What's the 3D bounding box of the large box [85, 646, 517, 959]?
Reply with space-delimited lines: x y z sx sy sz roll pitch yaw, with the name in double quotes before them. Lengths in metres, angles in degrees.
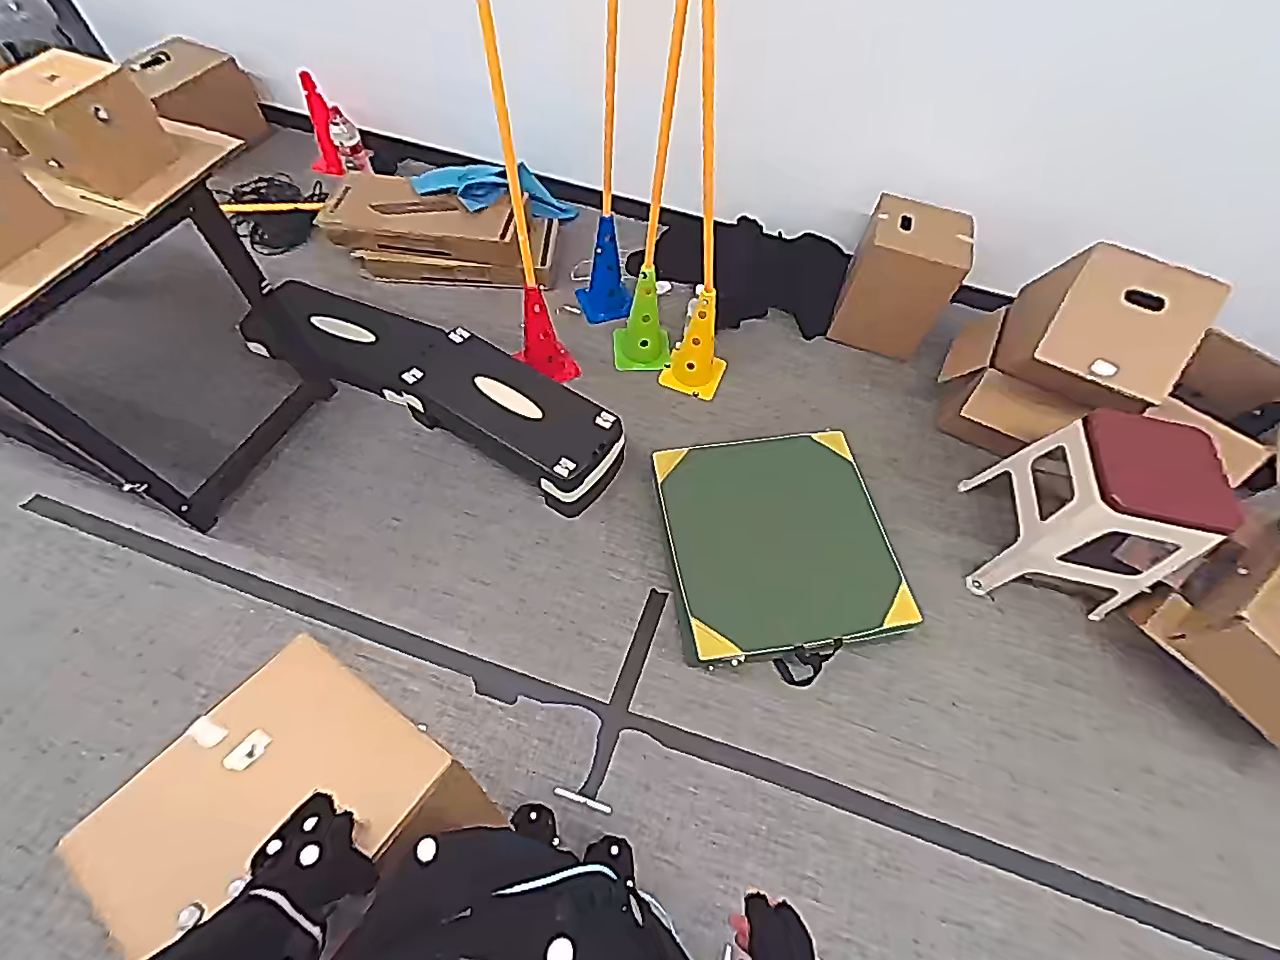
"large box" -0.427 0.516 0.778 0.320 0.408 0.320 29 53 24
